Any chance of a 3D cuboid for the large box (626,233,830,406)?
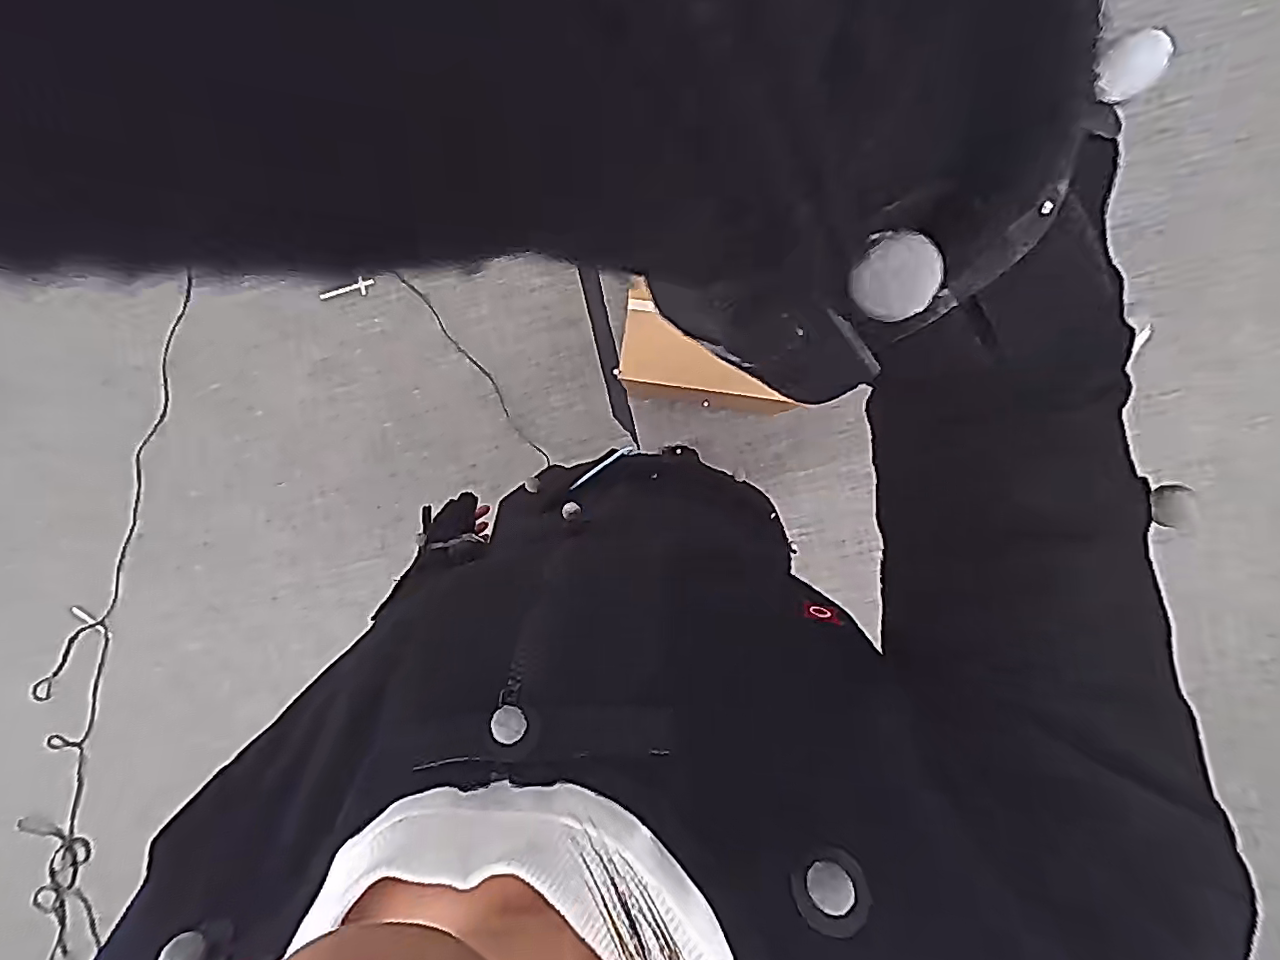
[{"bbox_3d":[0.193,-0.358,1.291,0.408,0.320,0.320,8,93,3],"label":"large box"}]
